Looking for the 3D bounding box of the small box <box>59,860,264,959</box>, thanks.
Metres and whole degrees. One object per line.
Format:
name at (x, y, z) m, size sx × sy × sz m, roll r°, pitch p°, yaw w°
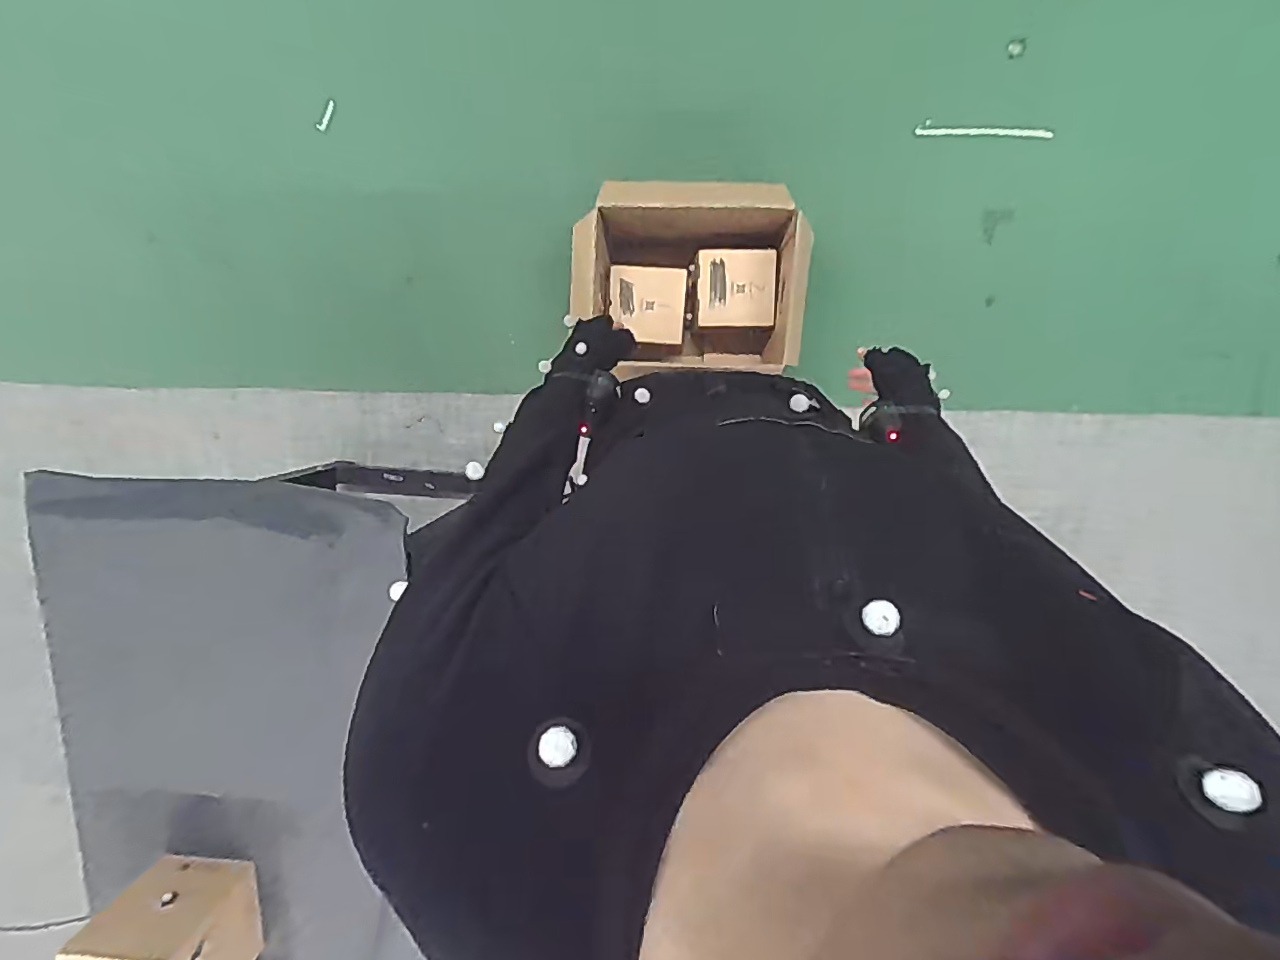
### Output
small box at (-0.728, 0.737, 0.842) m, size 0.168 × 0.176 × 0.179 m, roll 2°, pitch 100°, yaw 4°
